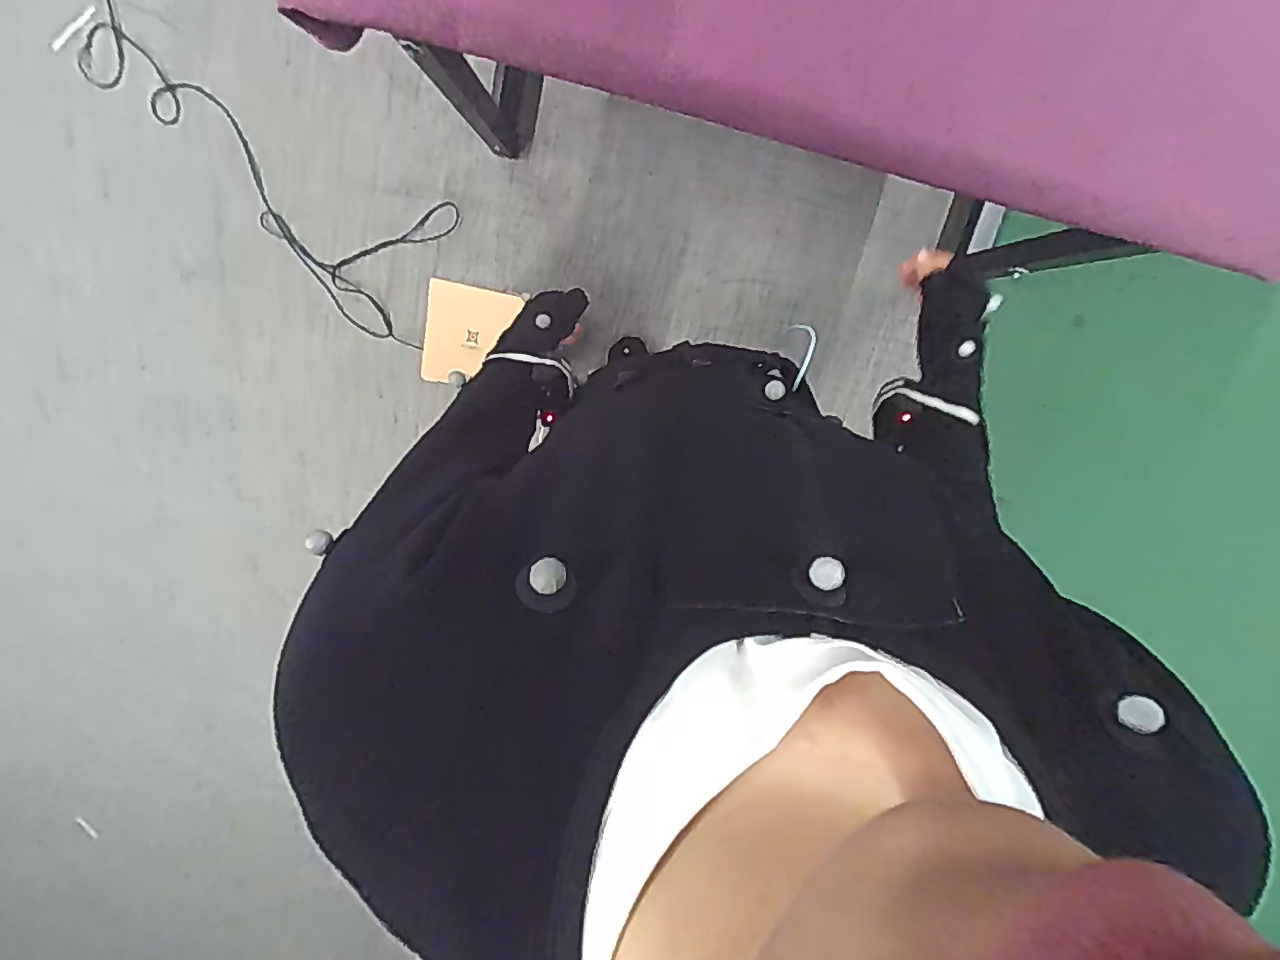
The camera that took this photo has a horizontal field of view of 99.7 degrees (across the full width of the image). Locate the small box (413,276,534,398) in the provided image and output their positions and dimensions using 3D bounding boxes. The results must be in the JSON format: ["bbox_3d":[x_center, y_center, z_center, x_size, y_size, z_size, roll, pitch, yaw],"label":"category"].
[{"bbox_3d":[-0.300,-0.267,1.006,0.168,0.176,0.179,12,108,-3],"label":"small box"}]

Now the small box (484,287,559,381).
[{"bbox_3d":[-0.301,-0.356,1.322,0.168,0.176,0.179,15,106,-4],"label":"small box"}]
